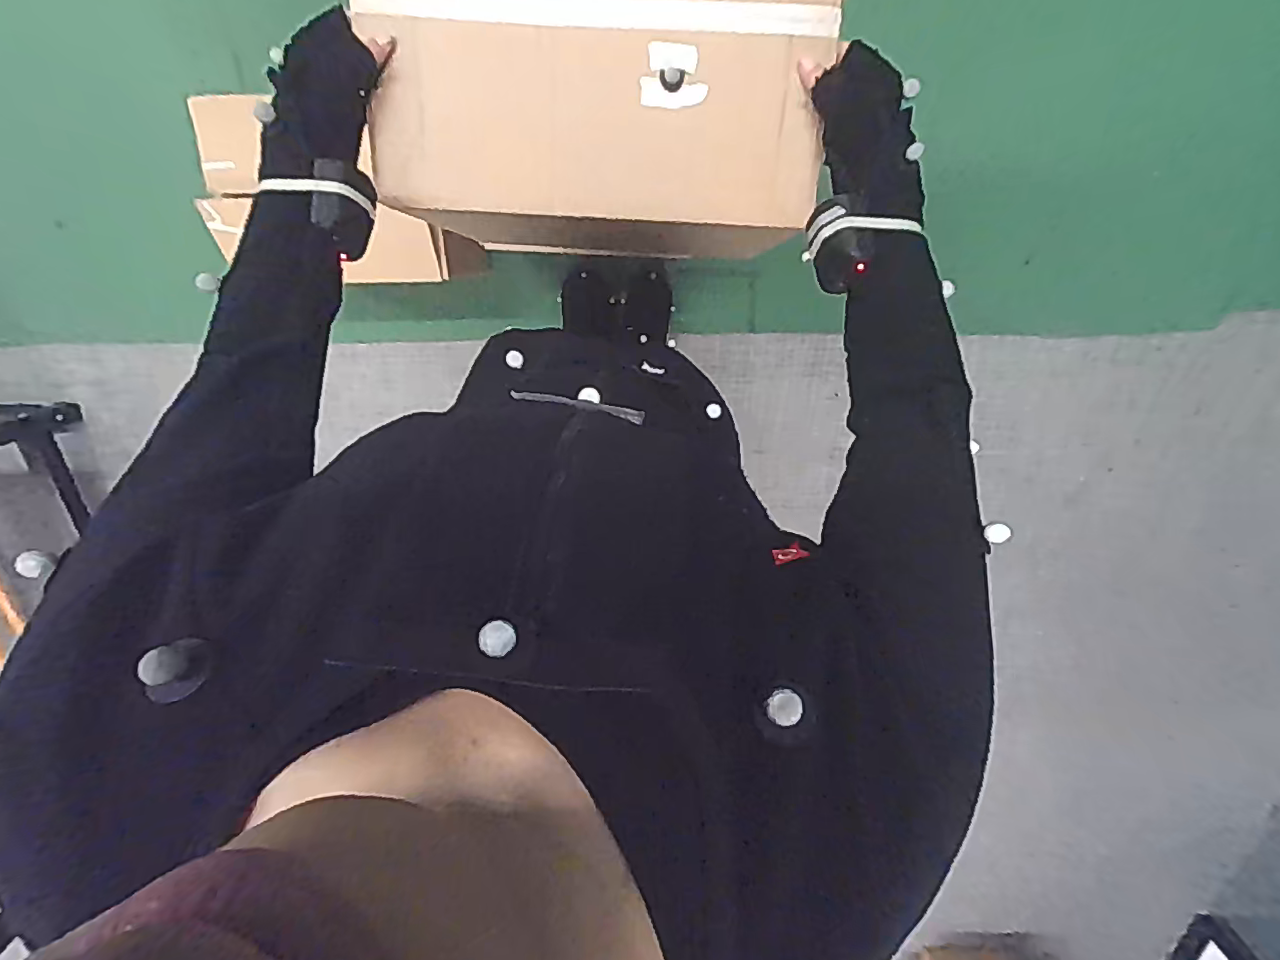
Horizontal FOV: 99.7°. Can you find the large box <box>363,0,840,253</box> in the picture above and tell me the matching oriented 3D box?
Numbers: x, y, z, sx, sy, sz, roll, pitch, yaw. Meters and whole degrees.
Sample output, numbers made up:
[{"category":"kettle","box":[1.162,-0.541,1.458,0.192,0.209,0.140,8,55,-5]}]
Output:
[{"category":"large box","box":[-0.034,-0.434,0.591,0.408,0.320,0.320,2,108,-1]}]
